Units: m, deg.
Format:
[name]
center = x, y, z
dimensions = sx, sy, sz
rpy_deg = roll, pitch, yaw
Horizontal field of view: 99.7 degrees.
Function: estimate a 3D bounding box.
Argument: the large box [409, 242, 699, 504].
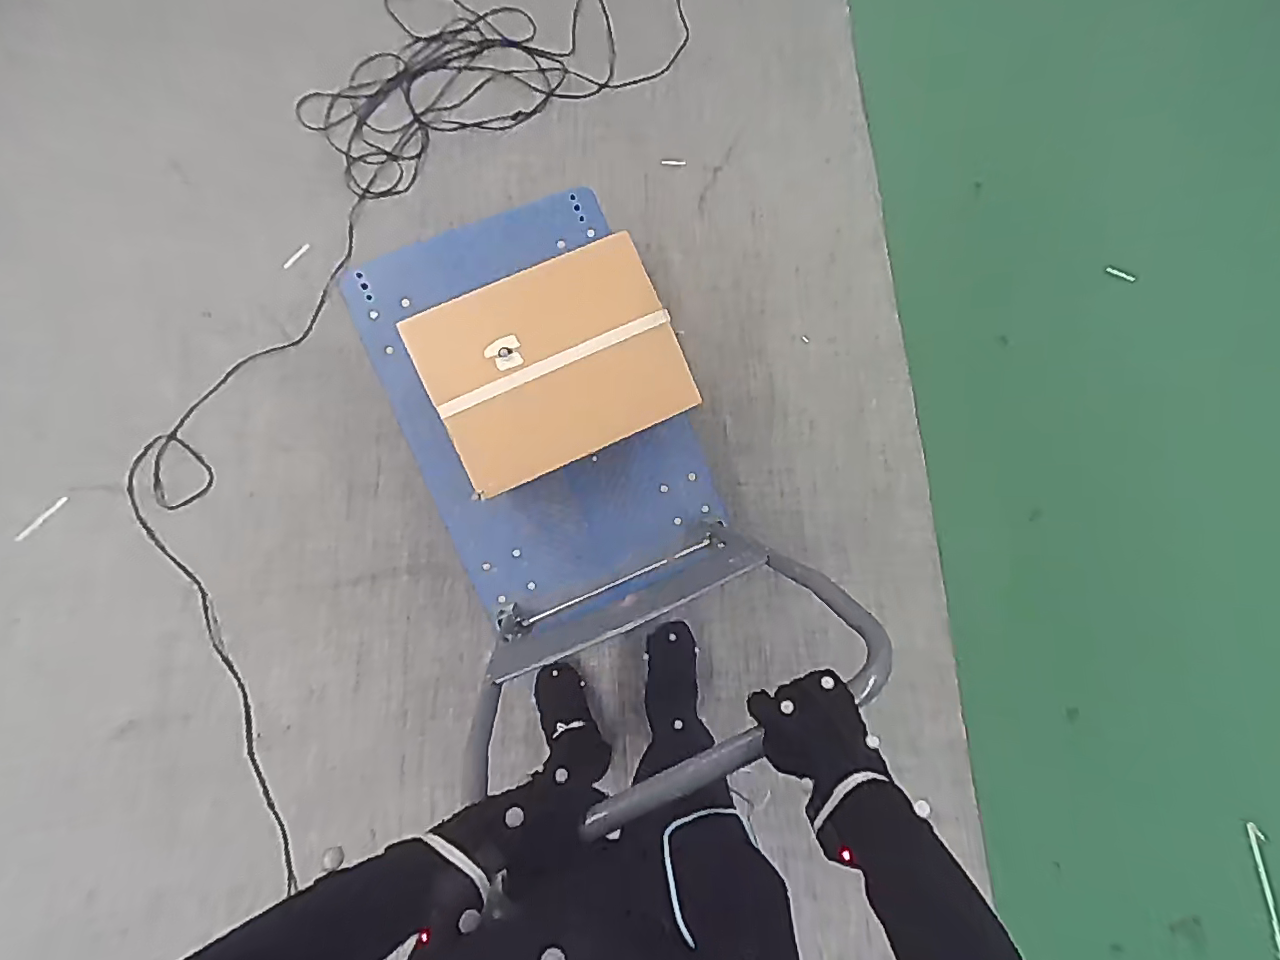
[large box]
center = -0.151, -0.188, 1.051
dimensions = 0.408, 0.320, 0.320
rpy_deg = -25, 93, -4
